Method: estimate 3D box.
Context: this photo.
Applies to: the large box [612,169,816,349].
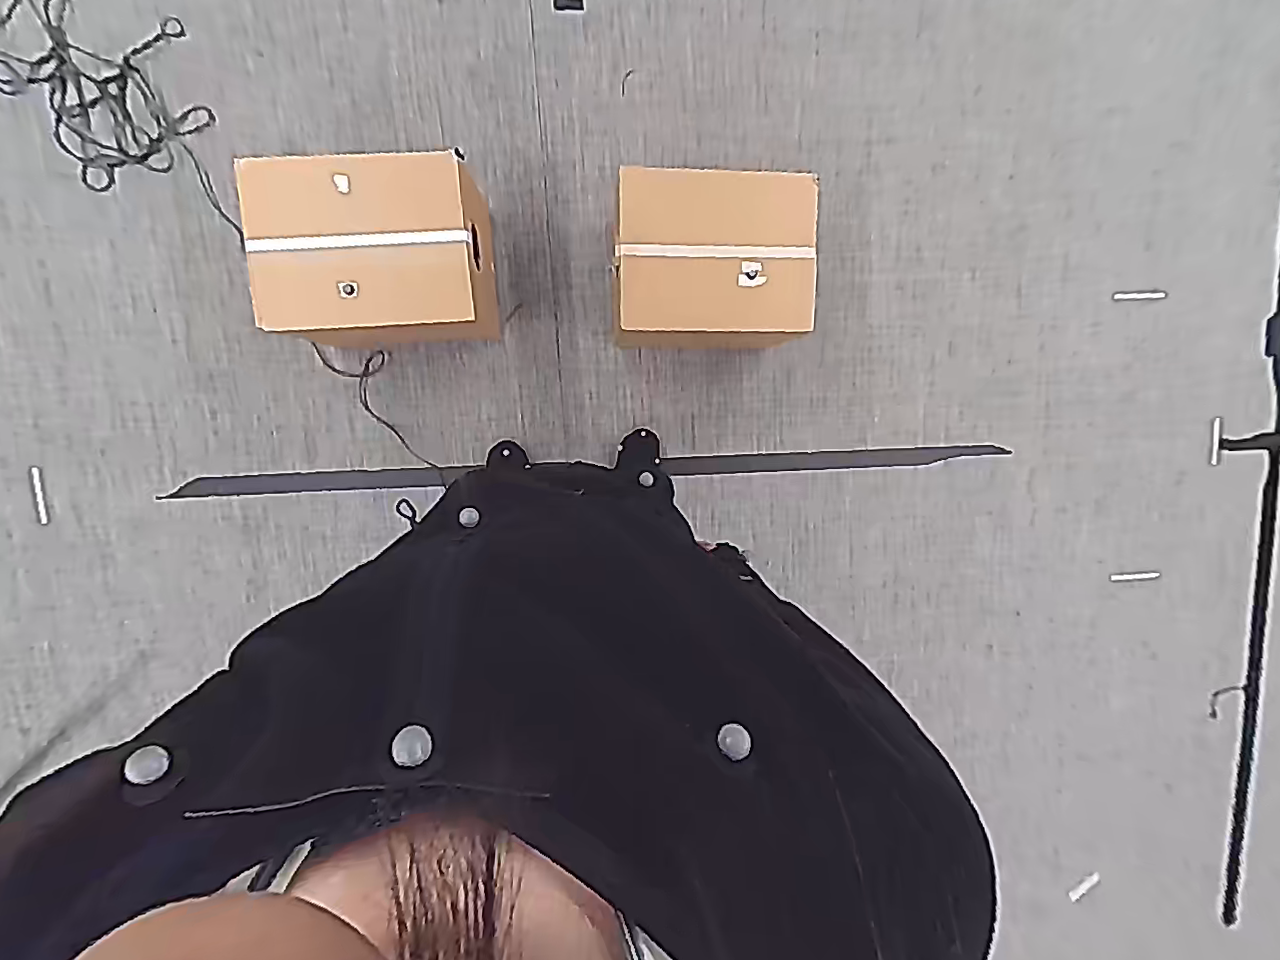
[{"bbox_3d":[0.146,-0.480,1.244,0.408,0.320,0.320,-1,97,-6],"label":"large box"}]
